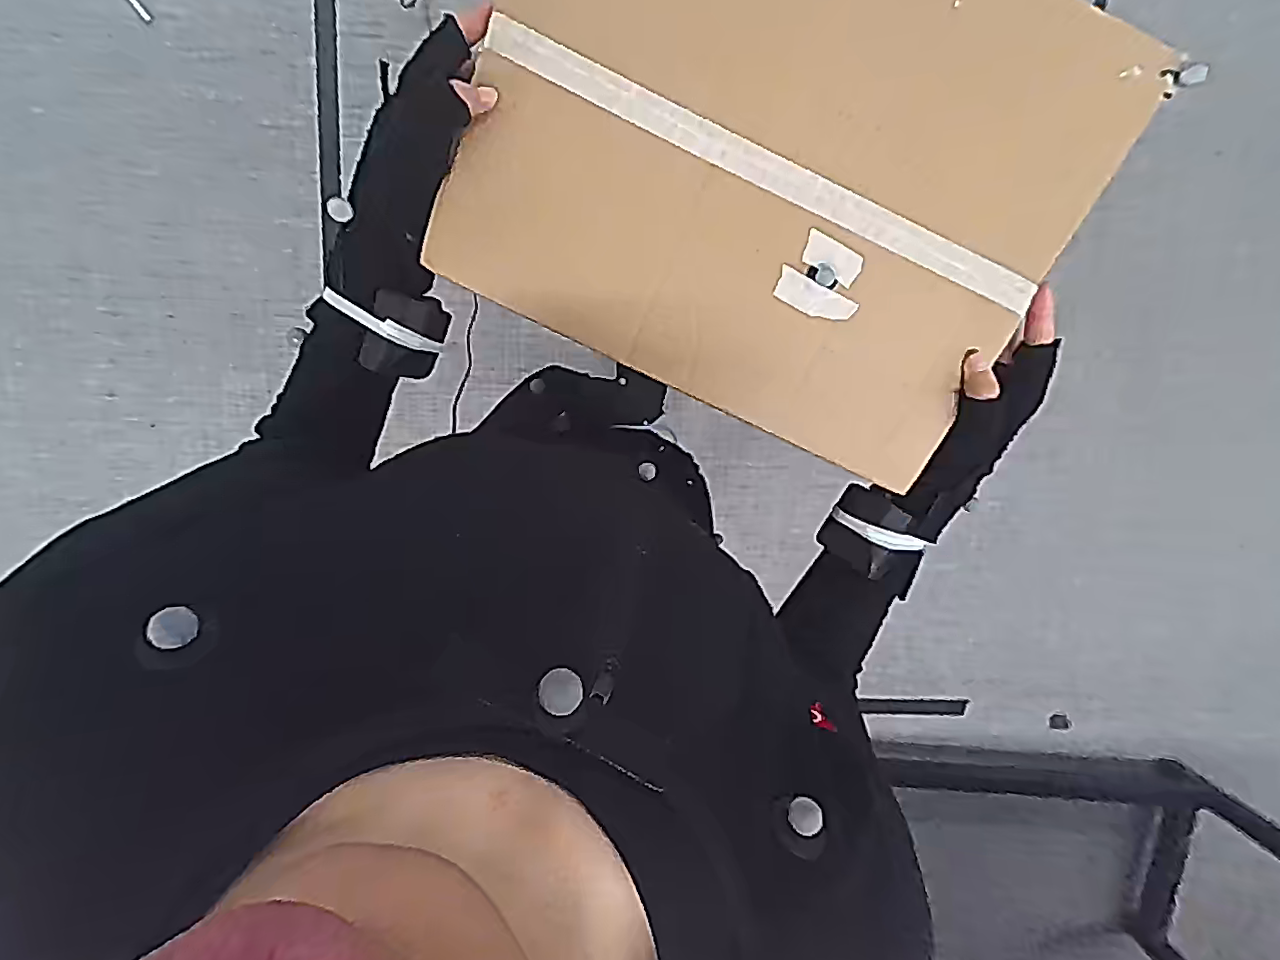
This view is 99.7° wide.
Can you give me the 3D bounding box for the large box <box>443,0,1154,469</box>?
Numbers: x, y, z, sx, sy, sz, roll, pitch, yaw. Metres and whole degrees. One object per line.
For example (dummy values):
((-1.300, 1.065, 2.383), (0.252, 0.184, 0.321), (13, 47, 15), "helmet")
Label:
((0.098, -0.260, 0.519), (0.408, 0.320, 0.320), (25, 108, -4), "large box")
